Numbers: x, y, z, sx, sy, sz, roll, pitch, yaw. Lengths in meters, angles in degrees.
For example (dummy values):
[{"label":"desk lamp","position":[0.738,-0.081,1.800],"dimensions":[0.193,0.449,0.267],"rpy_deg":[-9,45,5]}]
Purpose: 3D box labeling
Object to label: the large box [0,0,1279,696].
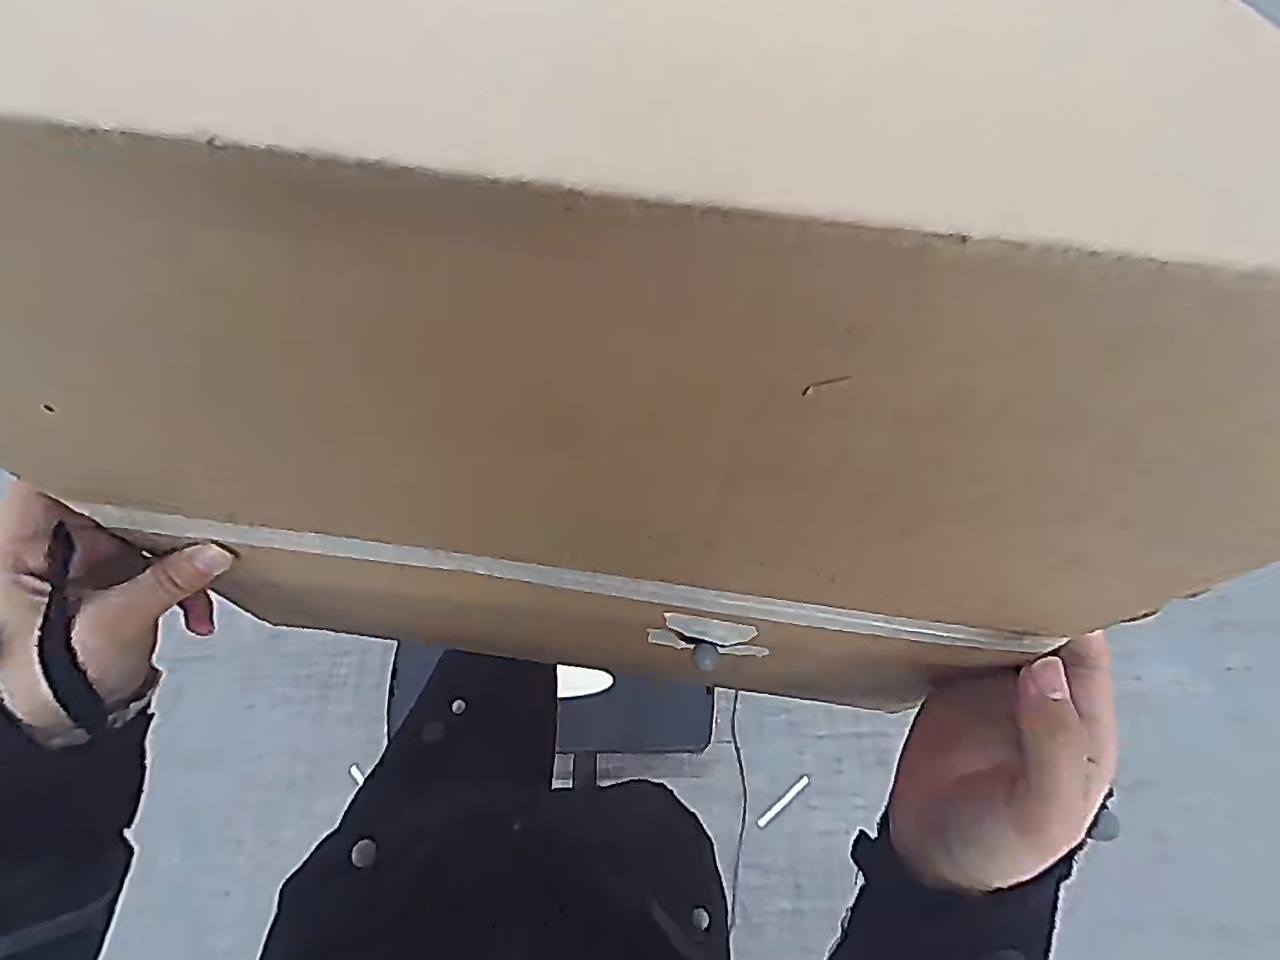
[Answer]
[{"label":"large box","position":[-0.016,-0.090,0.313],"dimensions":[0.408,0.320,0.320],"rpy_deg":[7,58,1]}]
